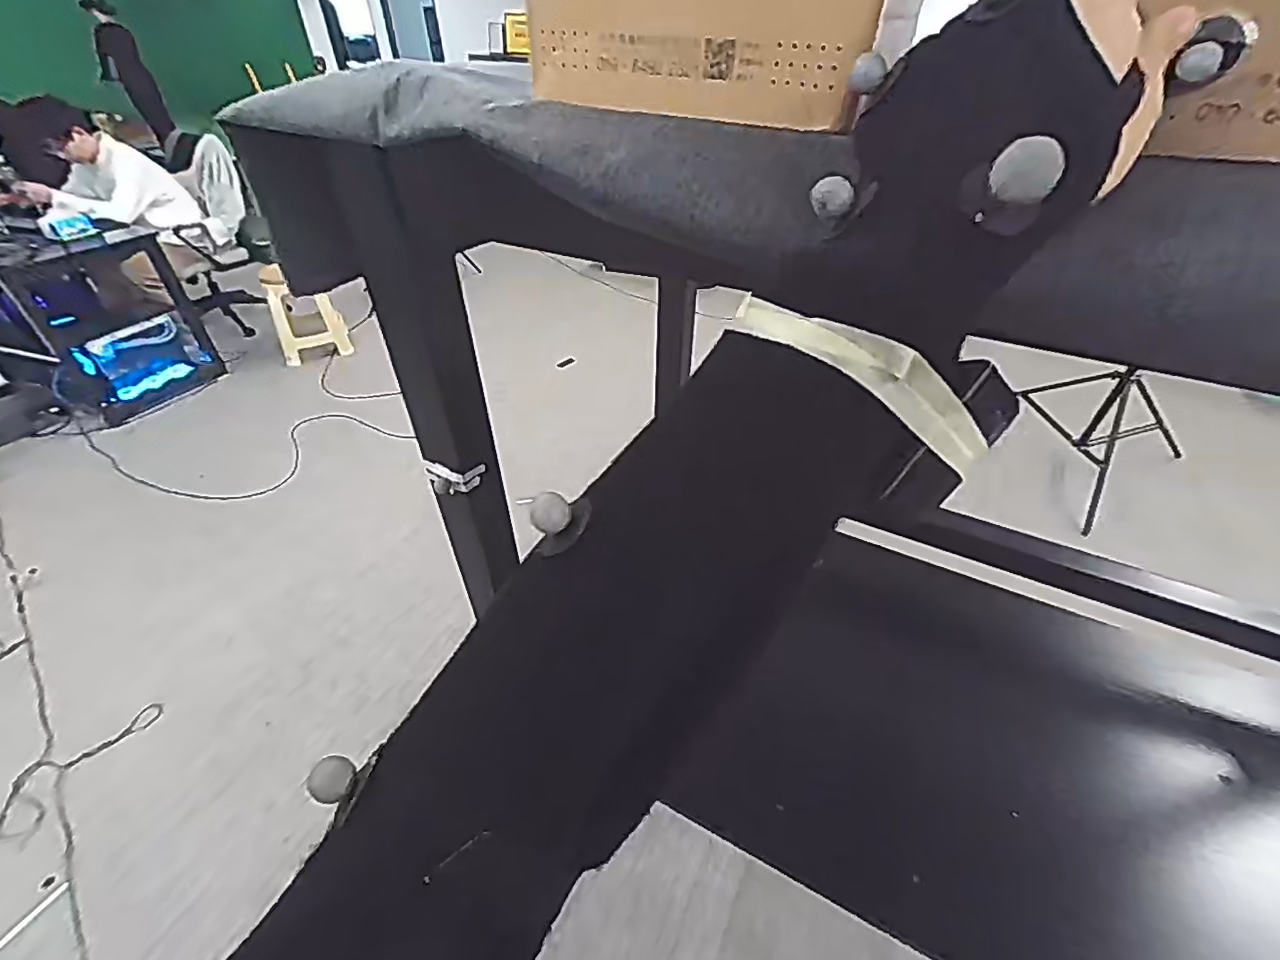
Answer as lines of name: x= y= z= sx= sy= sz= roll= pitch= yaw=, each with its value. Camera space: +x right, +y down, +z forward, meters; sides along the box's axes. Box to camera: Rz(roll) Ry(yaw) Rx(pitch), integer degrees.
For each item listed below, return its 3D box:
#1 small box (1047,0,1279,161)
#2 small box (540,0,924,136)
small box: x=0.283 y=-0.222 z=0.201 sx=0.168 sy=0.176 sz=0.179 roll=19 pitch=42 yaw=22
small box: x=0.058 y=-0.281 z=0.269 sx=0.168 sy=0.176 sz=0.179 roll=19 pitch=42 yaw=19
